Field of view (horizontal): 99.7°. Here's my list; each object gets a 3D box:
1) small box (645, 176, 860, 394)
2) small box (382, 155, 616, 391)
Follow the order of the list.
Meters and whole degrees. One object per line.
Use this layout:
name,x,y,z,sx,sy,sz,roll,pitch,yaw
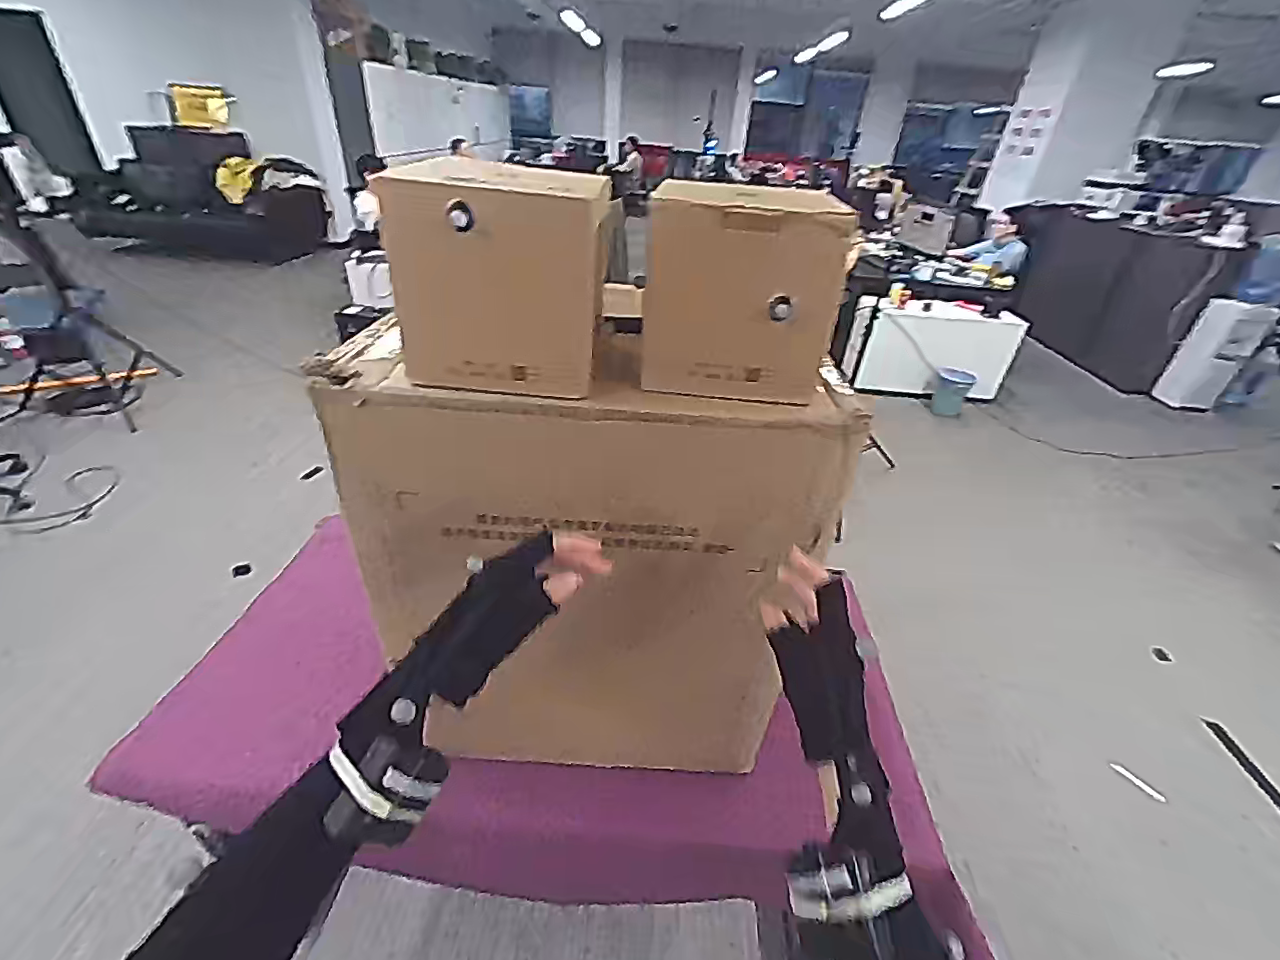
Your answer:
small box,0.096,-0.196,0.536,0.168,0.176,0.179,6,32,3
small box,-0.115,-0.200,0.510,0.168,0.176,0.179,4,33,-1
